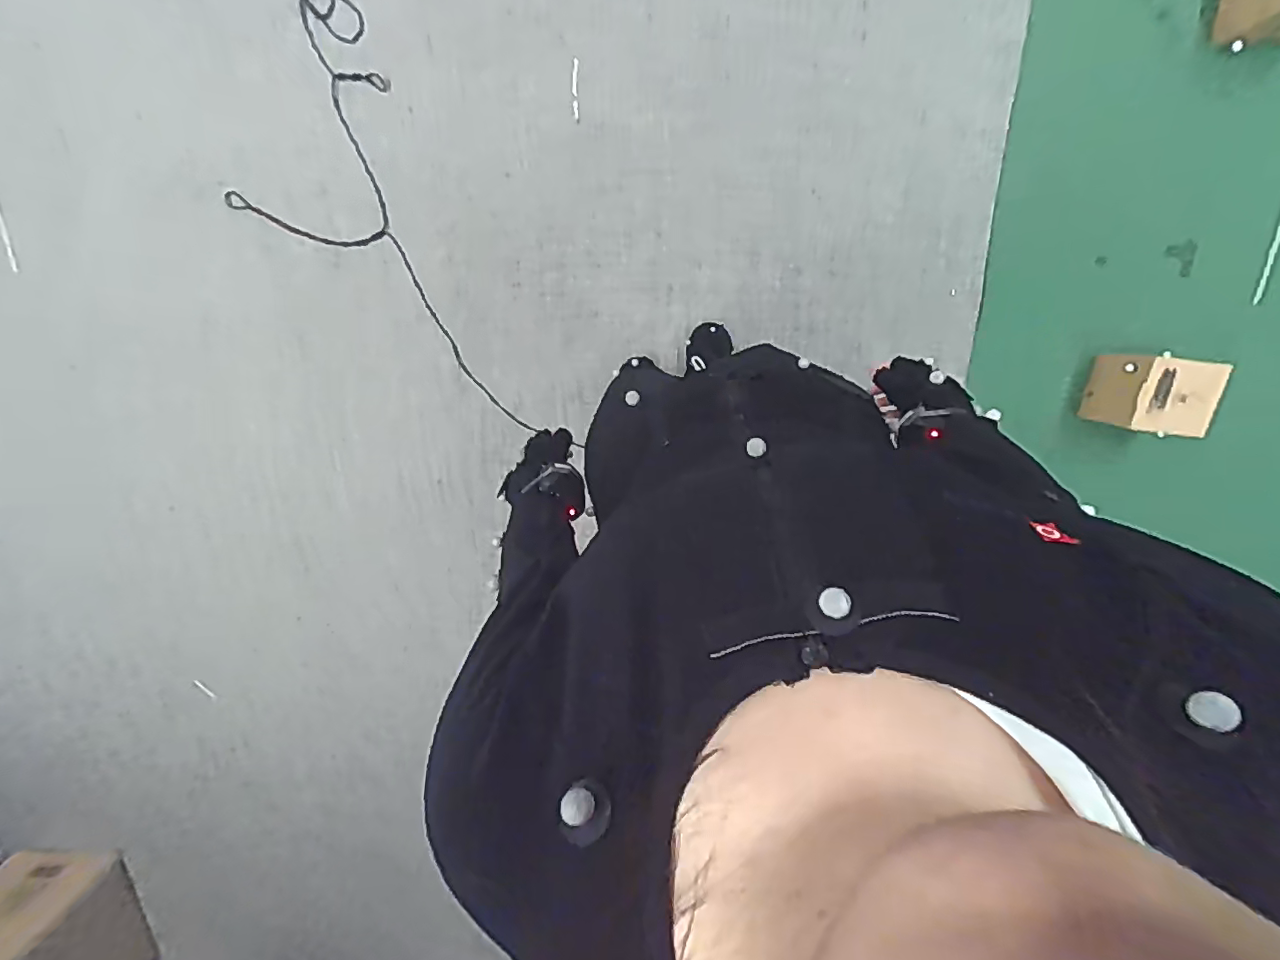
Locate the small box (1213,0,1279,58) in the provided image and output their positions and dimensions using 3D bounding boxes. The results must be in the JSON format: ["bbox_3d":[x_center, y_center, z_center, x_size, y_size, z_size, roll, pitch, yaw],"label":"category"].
[{"bbox_3d":[1.309,-0.971,1.069,0.168,0.176,0.179,-1,104,3],"label":"small box"}]
